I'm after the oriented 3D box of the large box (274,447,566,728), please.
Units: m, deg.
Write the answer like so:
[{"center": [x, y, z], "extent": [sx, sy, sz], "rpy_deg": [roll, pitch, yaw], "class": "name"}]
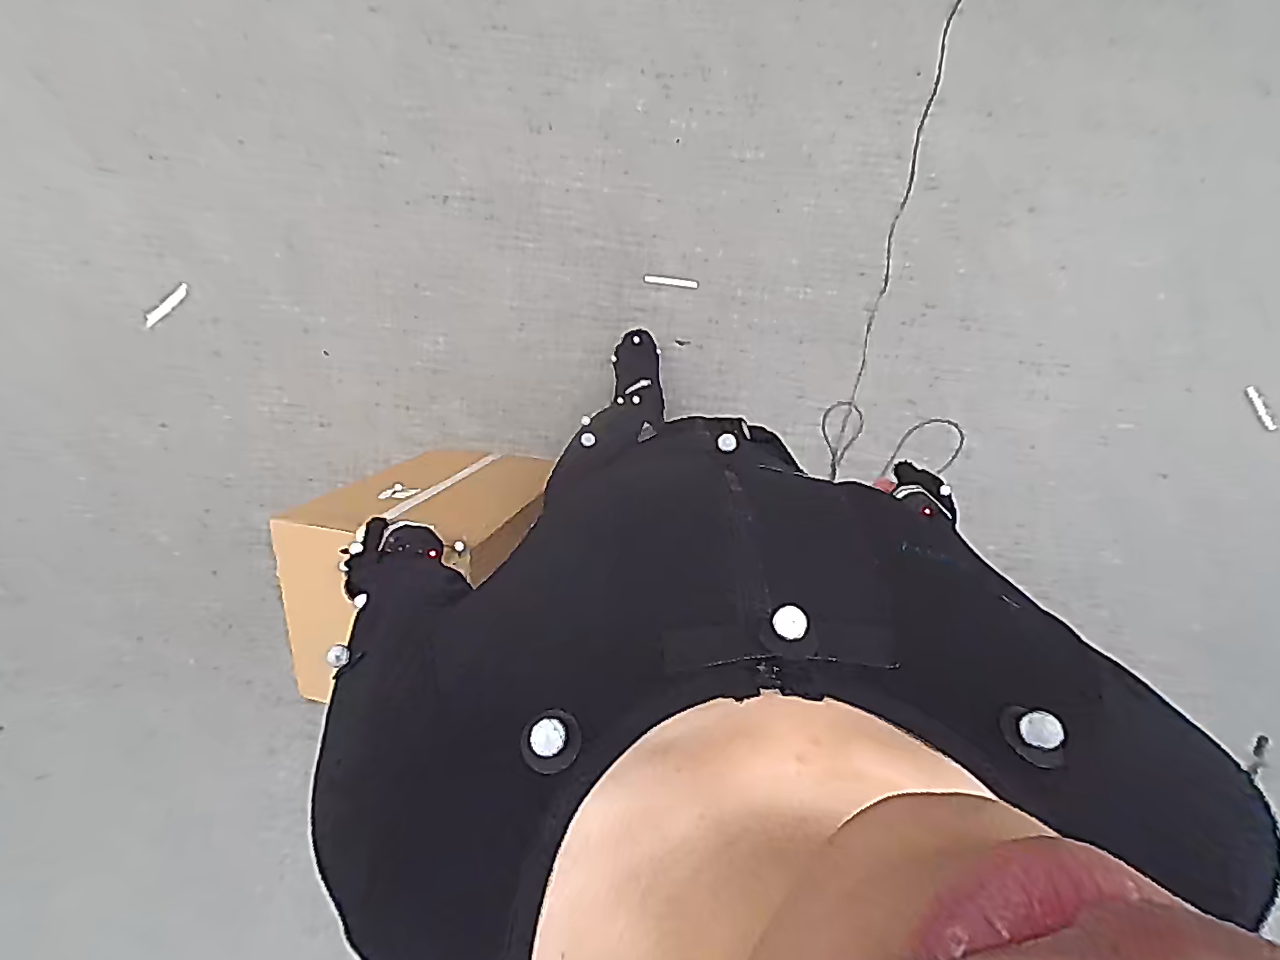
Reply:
[{"center": [-0.343, 0.154, 0.970], "extent": [0.320, 0.408, 0.320], "rpy_deg": [7, 110, 12], "class": "large box"}]
